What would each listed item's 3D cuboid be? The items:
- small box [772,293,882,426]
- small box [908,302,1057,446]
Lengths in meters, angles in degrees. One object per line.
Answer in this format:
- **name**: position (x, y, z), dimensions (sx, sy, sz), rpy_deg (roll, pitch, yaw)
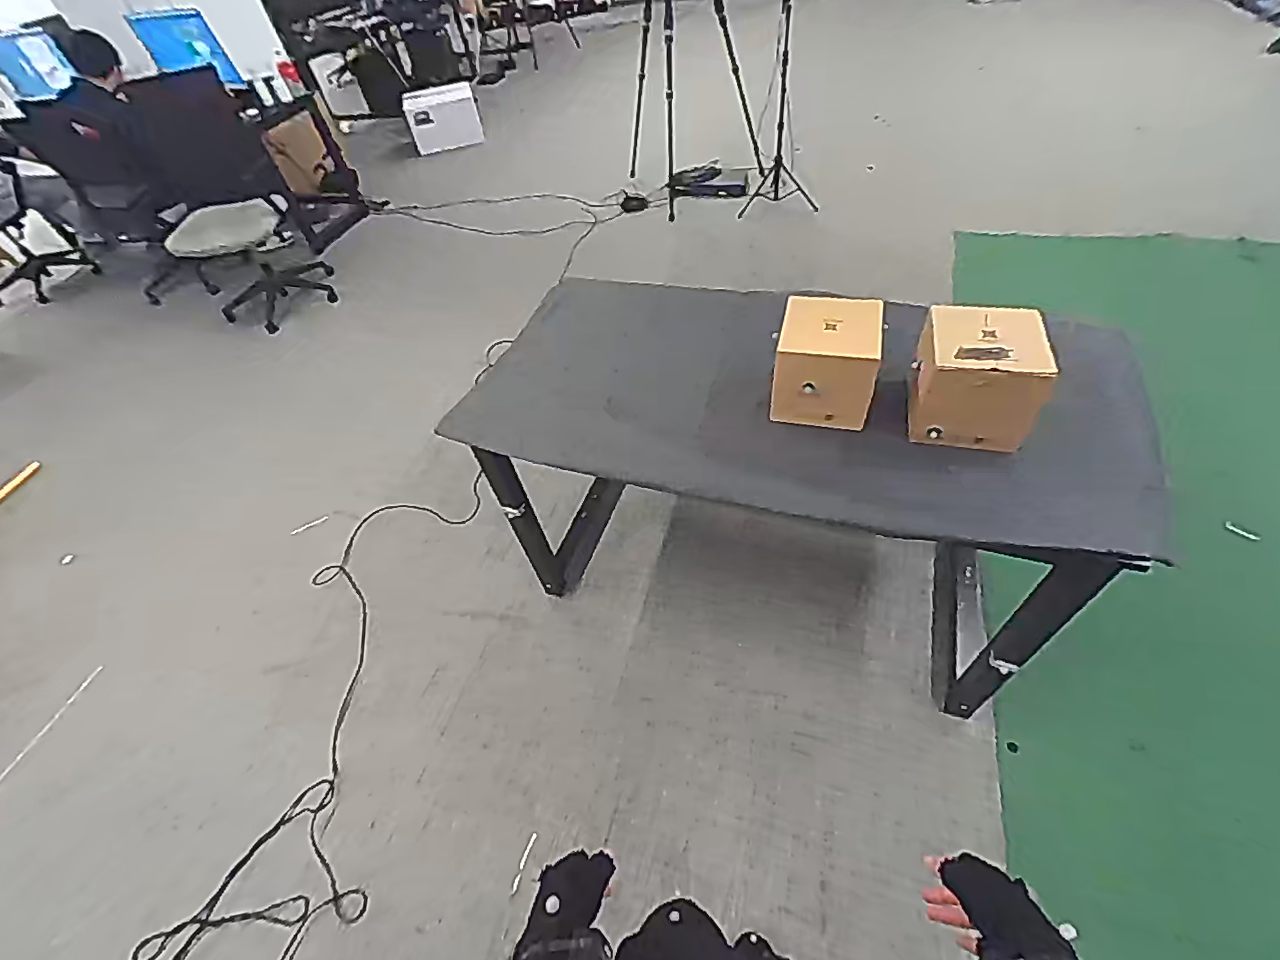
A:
- **small box**: position (0.338, -0.218, 0.990), dimensions (0.168, 0.176, 0.179), rpy_deg (9, 51, 16)
- **small box**: position (0.564, -0.178, 0.916), dimensions (0.168, 0.176, 0.179), rpy_deg (8, 51, 16)
